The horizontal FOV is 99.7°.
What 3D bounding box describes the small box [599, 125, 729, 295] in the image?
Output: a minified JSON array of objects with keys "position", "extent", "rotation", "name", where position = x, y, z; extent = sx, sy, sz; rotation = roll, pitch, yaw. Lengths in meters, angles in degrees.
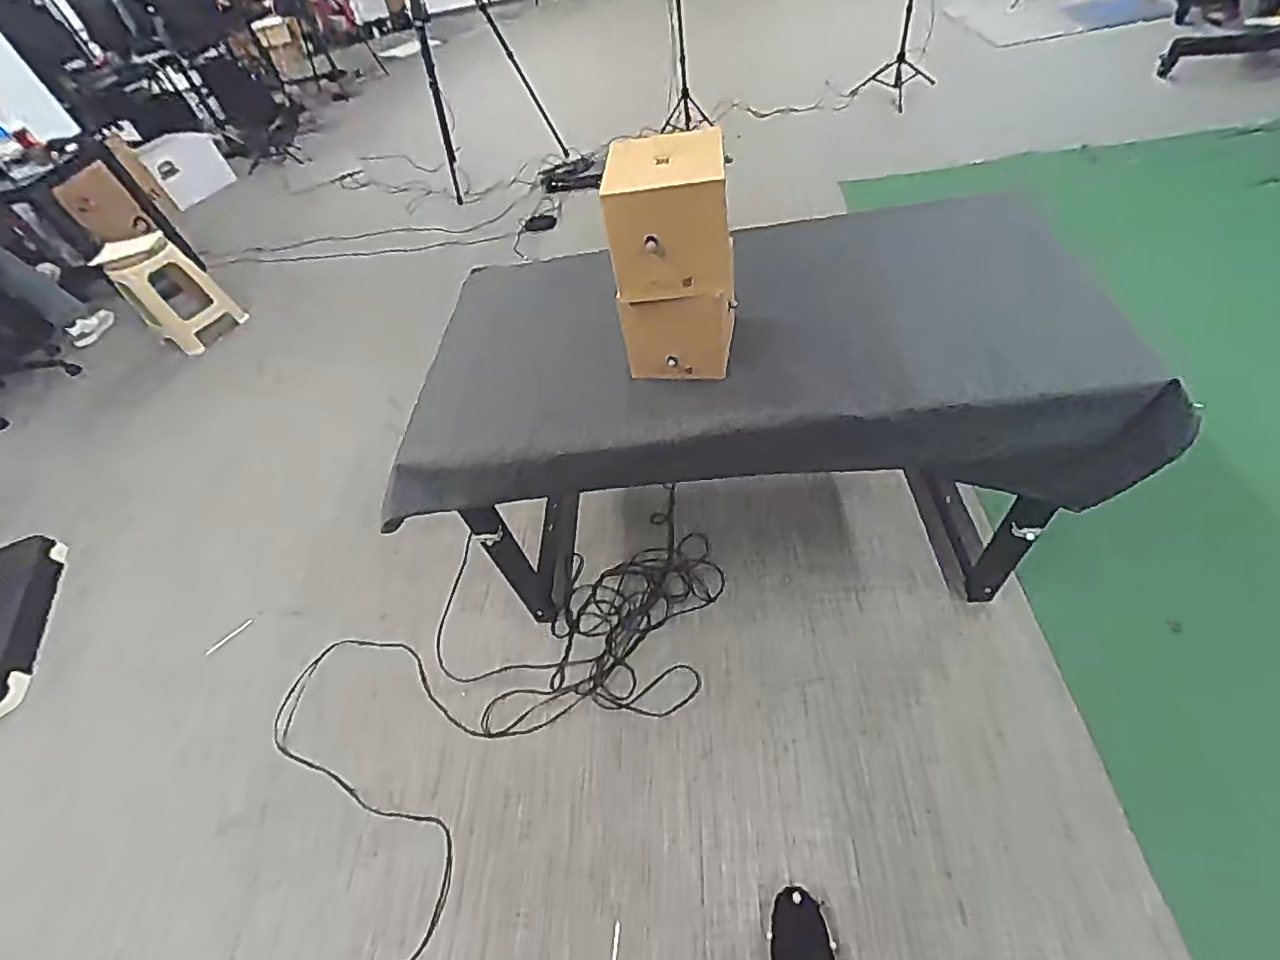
[{"position":[0.044,-0.390,0.802],"extent":[0.168,0.176,0.179],"rotation":[-3,51,9],"name":"small box"}]
